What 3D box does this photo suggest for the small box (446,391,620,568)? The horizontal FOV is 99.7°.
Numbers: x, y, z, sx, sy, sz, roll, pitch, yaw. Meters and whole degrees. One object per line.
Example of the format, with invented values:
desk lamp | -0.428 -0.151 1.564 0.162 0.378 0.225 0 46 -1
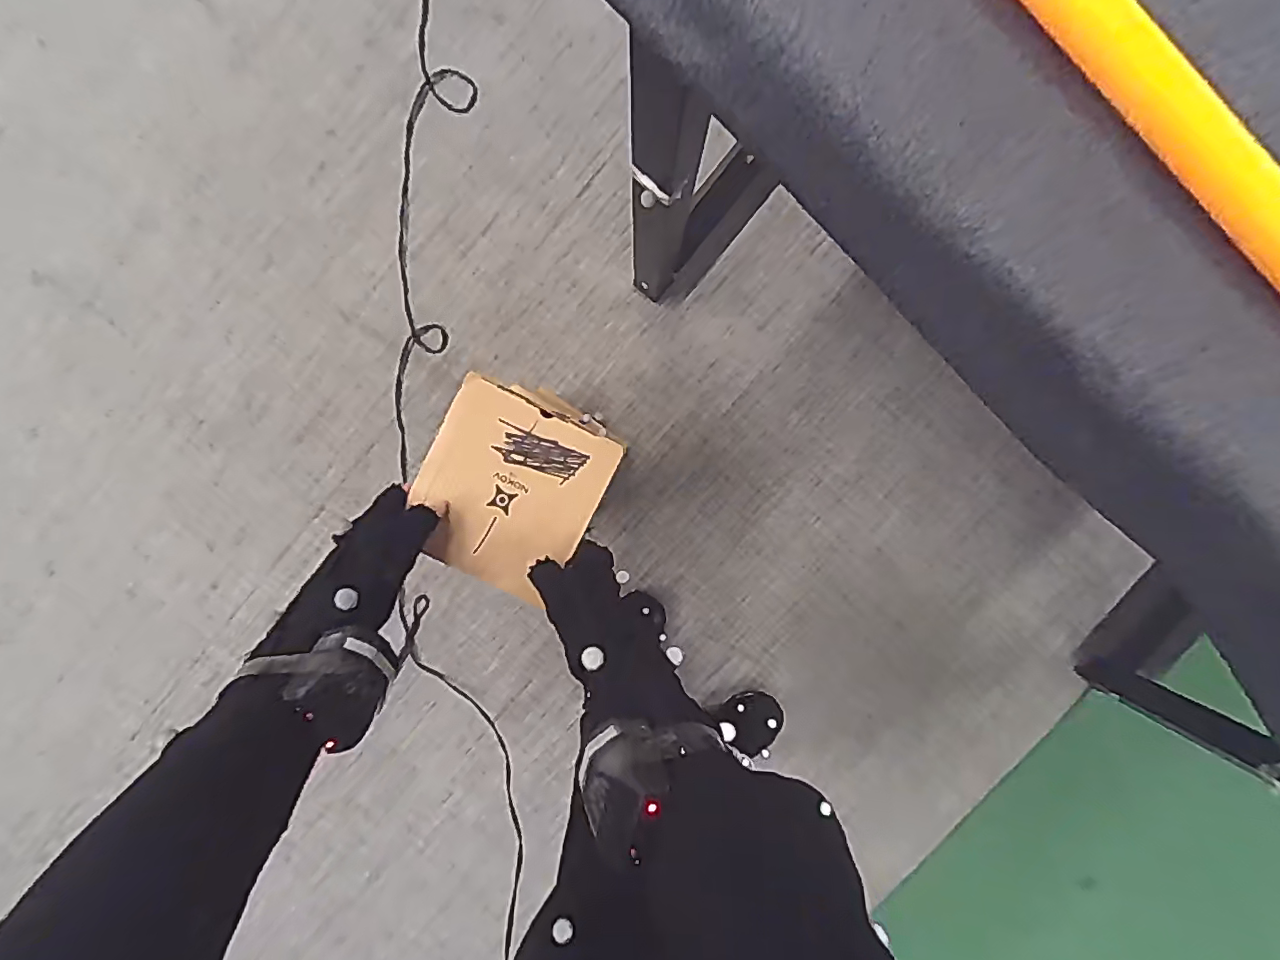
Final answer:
small box | -0.136 -0.004 0.767 0.168 0.176 0.179 29 93 -1
